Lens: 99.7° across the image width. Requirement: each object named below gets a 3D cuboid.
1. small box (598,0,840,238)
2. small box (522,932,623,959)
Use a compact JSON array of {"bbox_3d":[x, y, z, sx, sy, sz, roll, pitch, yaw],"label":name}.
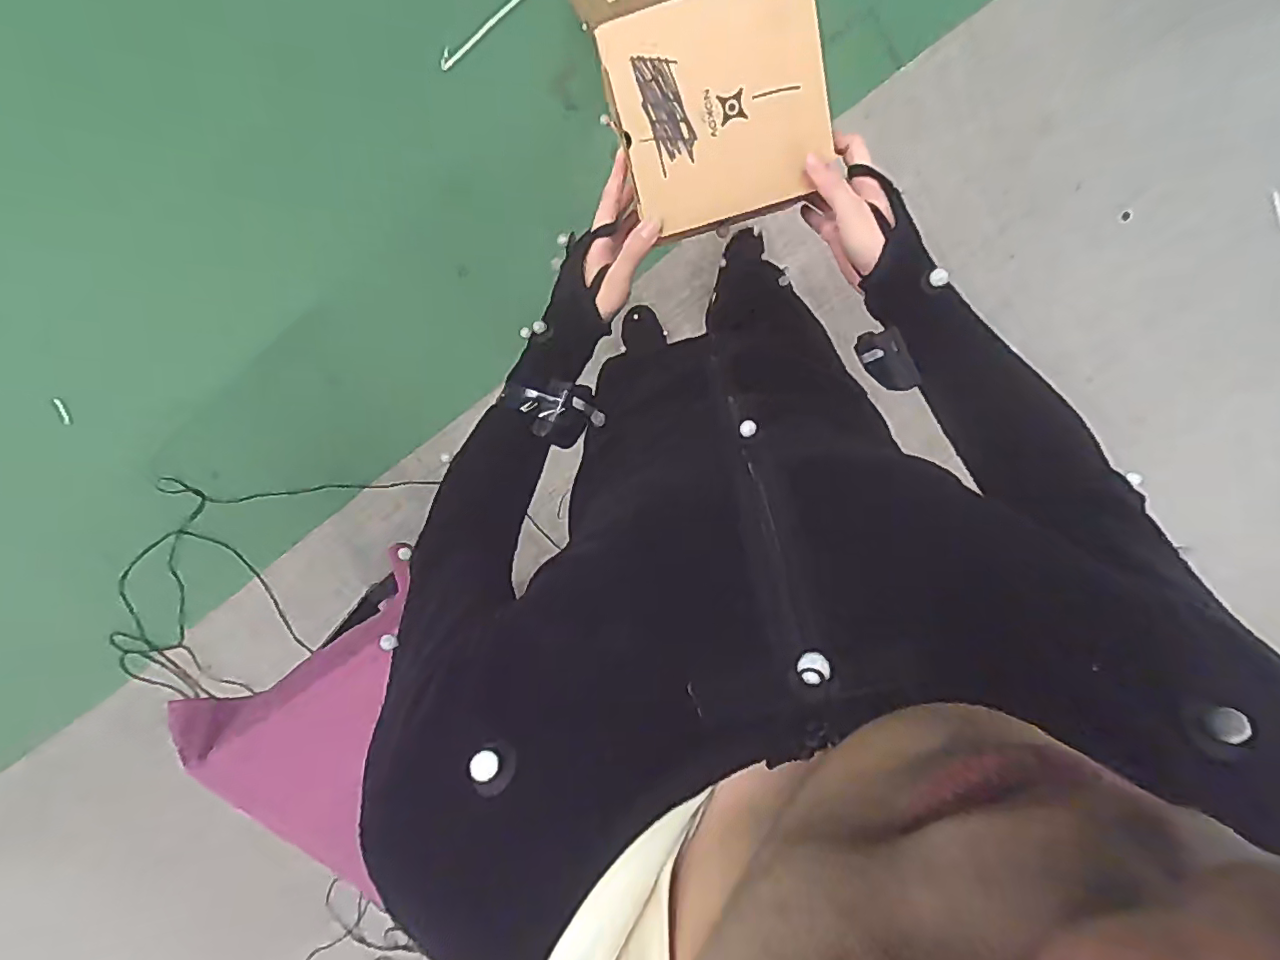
[{"bbox_3d":[0.070,-0.345,0.523,0.179,0.176,0.168,-15,110,5],"label":"small box"},{"bbox_3d":[-0.124,0.981,0.992,0.168,0.176,0.179,-36,106,12],"label":"small box"}]
